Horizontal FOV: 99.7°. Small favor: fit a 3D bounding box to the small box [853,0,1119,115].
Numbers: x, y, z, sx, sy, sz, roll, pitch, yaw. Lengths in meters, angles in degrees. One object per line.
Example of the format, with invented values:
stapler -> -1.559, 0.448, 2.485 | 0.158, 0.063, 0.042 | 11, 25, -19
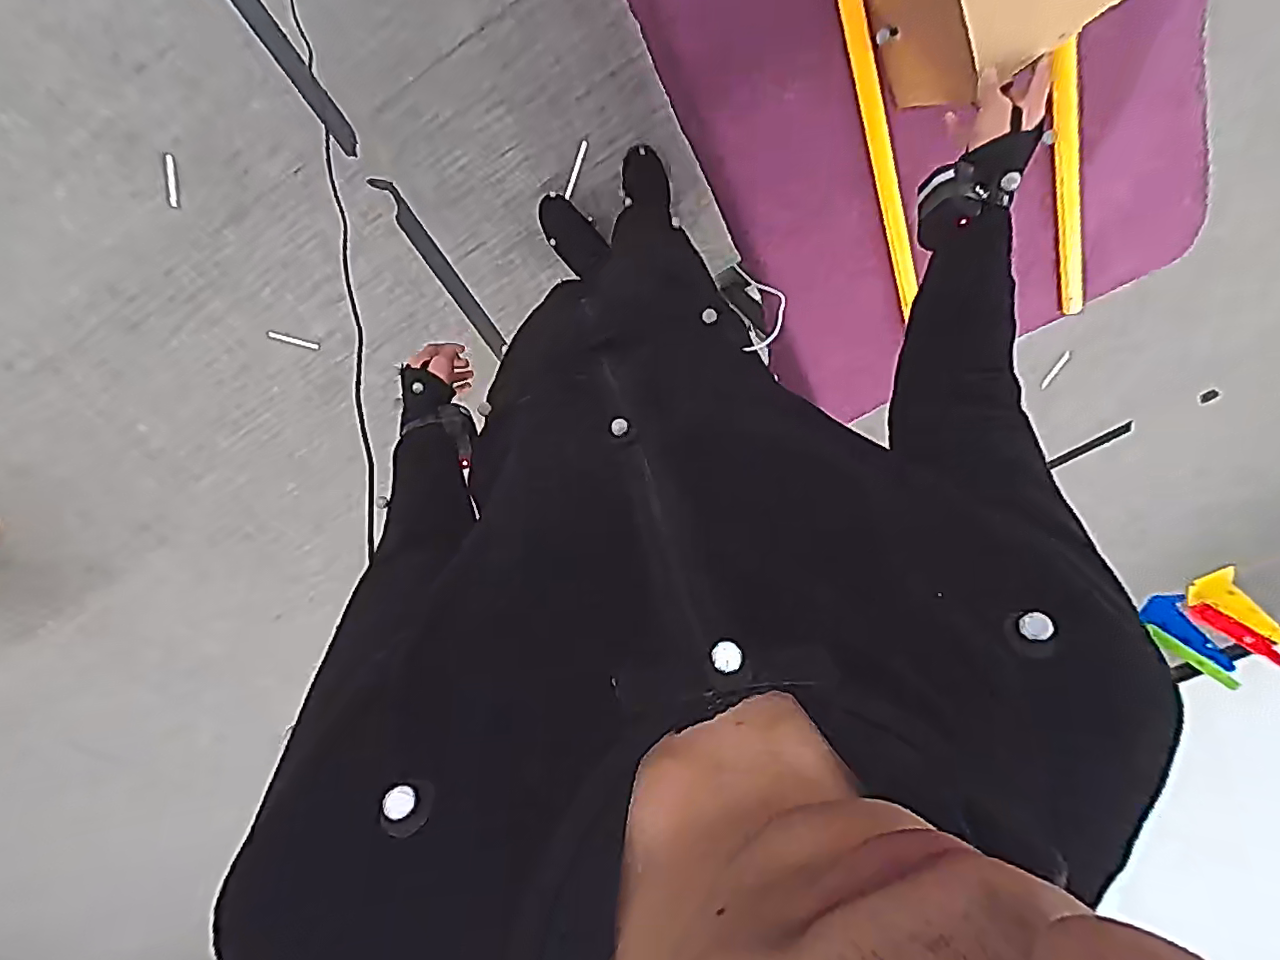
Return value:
small box -> 0.350, -0.528, 0.573 | 0.168, 0.176, 0.179 | -33, 122, 13
